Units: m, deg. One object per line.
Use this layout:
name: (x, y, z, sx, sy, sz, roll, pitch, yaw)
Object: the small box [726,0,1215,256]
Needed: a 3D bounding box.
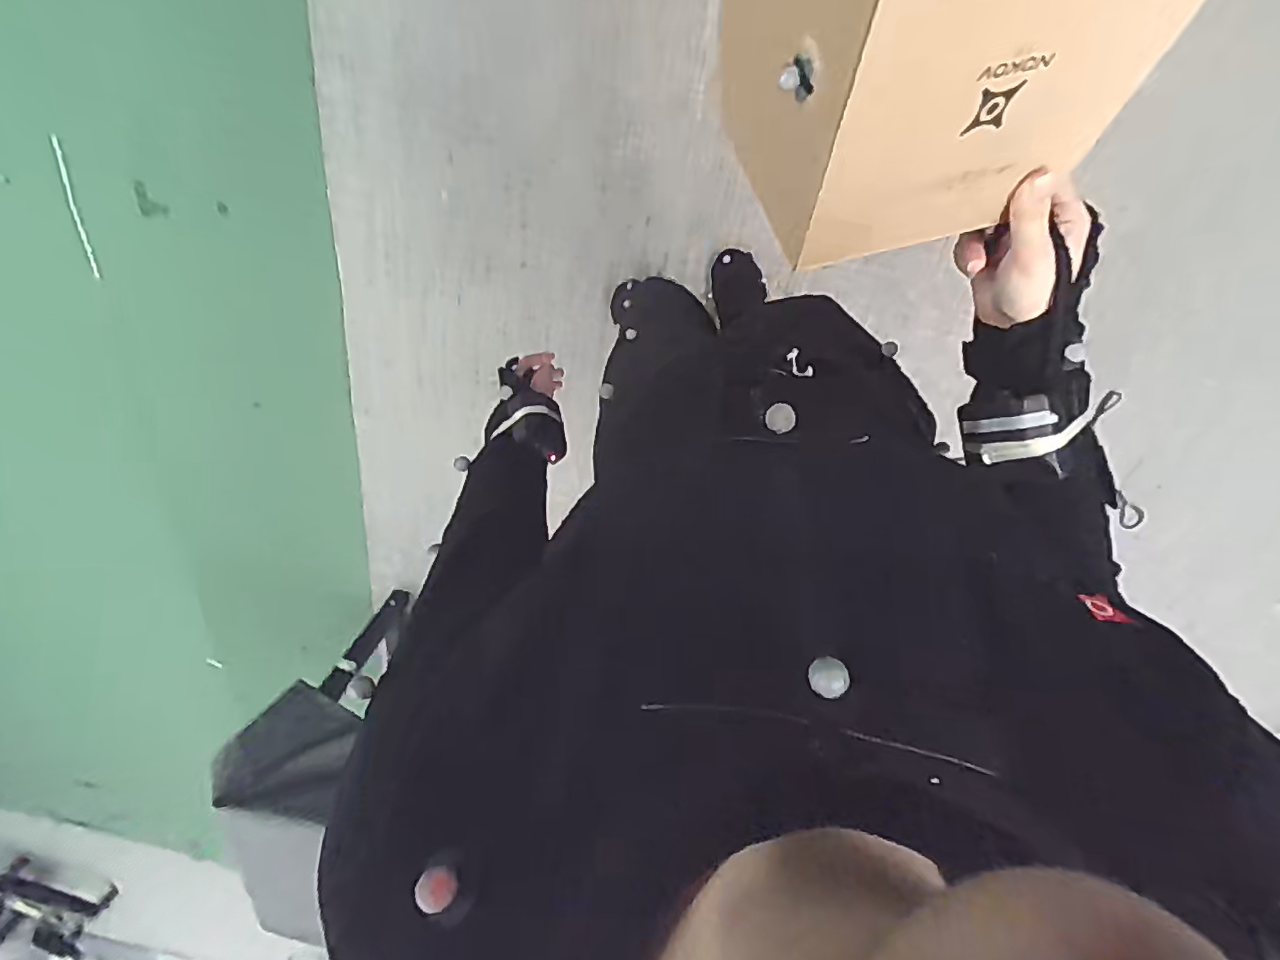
small box: (0.153, -0.257, 0.281, 0.168, 0.176, 0.179, -13, 158, -5)
